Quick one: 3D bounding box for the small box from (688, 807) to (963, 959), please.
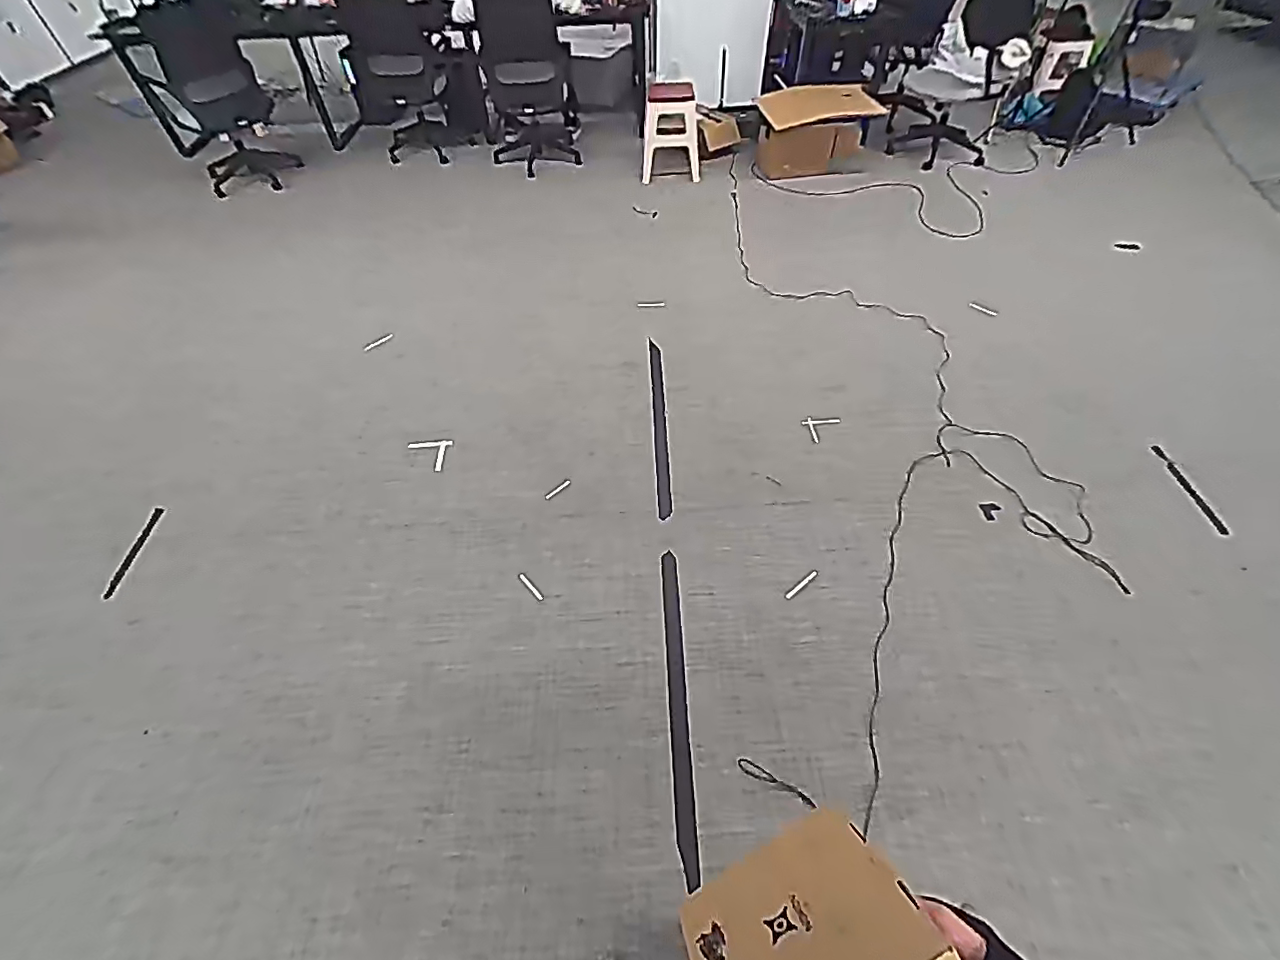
[{"bbox_3d":[0.166,0.427,0.441,0.179,0.168,0.176,-28,91,-7],"label":"small box"}]
